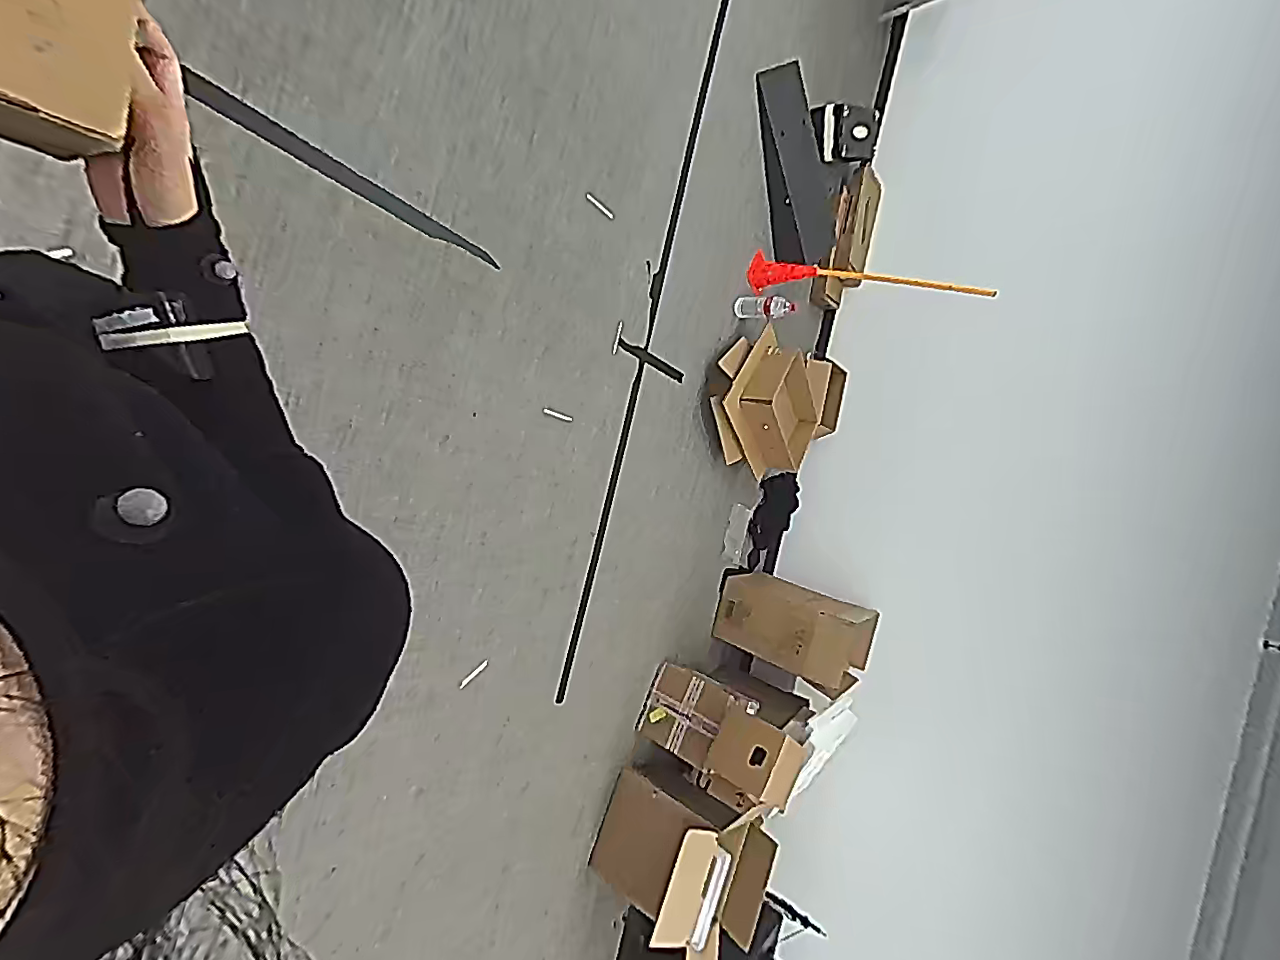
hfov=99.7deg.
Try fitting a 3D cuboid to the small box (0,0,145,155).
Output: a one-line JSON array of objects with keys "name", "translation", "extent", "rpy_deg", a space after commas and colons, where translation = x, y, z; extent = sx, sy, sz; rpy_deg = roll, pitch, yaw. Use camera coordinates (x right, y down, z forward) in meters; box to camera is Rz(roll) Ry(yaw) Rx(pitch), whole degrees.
[{"name": "small box", "translation": [-0.360, -0.281, 0.257], "extent": [0.168, 0.176, 0.179], "rpy_deg": [3, 105, -54]}]
